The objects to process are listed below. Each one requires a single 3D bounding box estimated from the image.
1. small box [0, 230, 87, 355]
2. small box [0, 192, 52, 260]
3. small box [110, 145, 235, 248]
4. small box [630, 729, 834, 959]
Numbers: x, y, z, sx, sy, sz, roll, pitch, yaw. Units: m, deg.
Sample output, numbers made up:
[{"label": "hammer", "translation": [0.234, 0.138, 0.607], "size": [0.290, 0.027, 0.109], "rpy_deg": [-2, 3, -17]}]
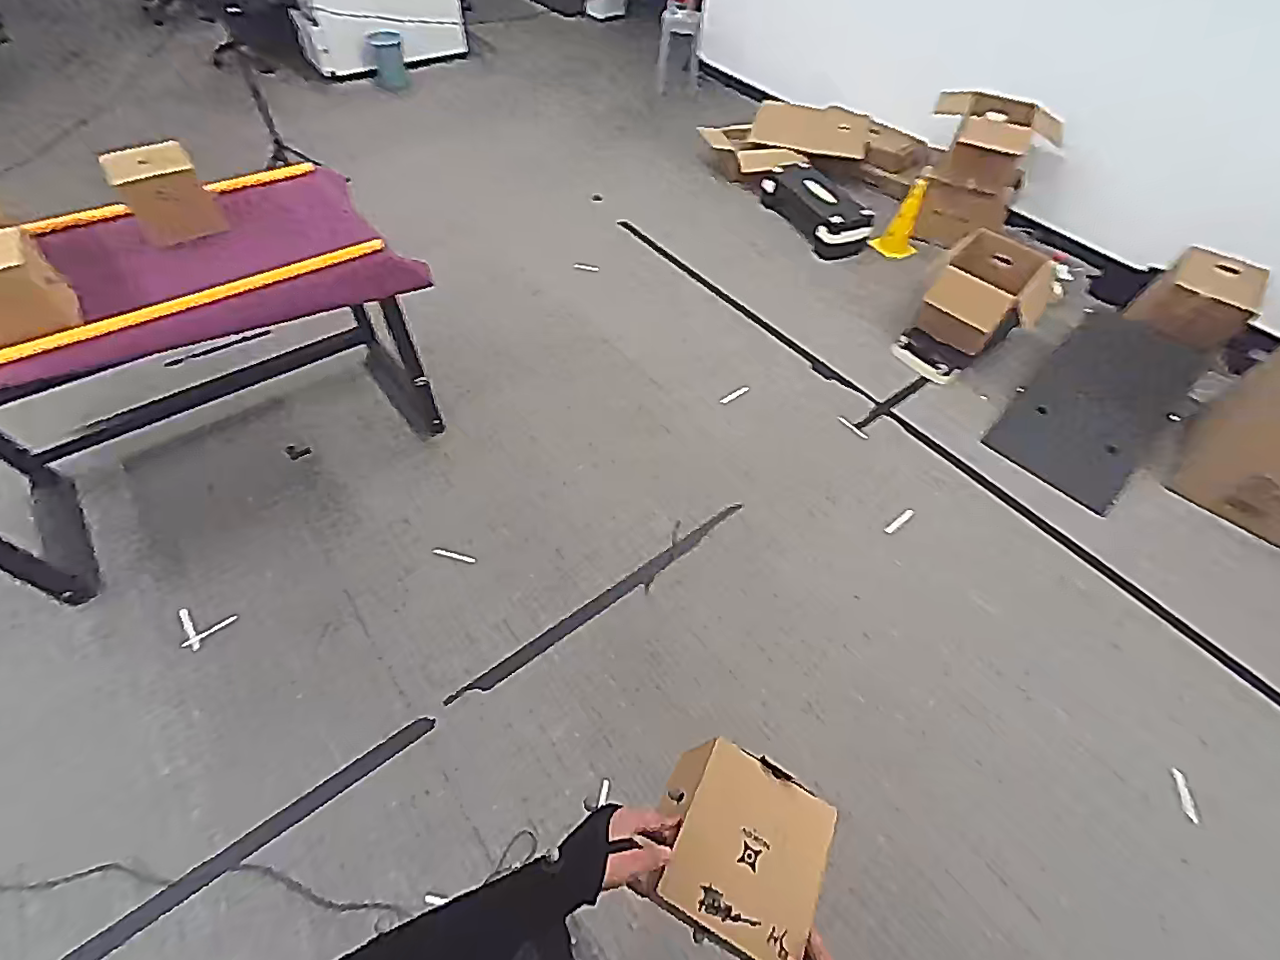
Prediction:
[{"label": "small box", "translation": [-1.361, -0.404, 1.175], "size": [0.179, 0.176, 0.168], "rpy_deg": [-29, 61, -22]}, {"label": "small box", "translation": [-1.553, -0.565, 1.277], "size": [0.168, 0.176, 0.179], "rpy_deg": [-33, 64, -24]}, {"label": "small box", "translation": [-1.227, -0.745, 1.429], "size": [0.179, 0.176, 0.168], "rpy_deg": [-31, 63, -23]}, {"label": "small box", "translation": [0.104, 0.442, 0.661], "size": [0.168, 0.176, 0.179], "rpy_deg": [30, 55, 7]}]
